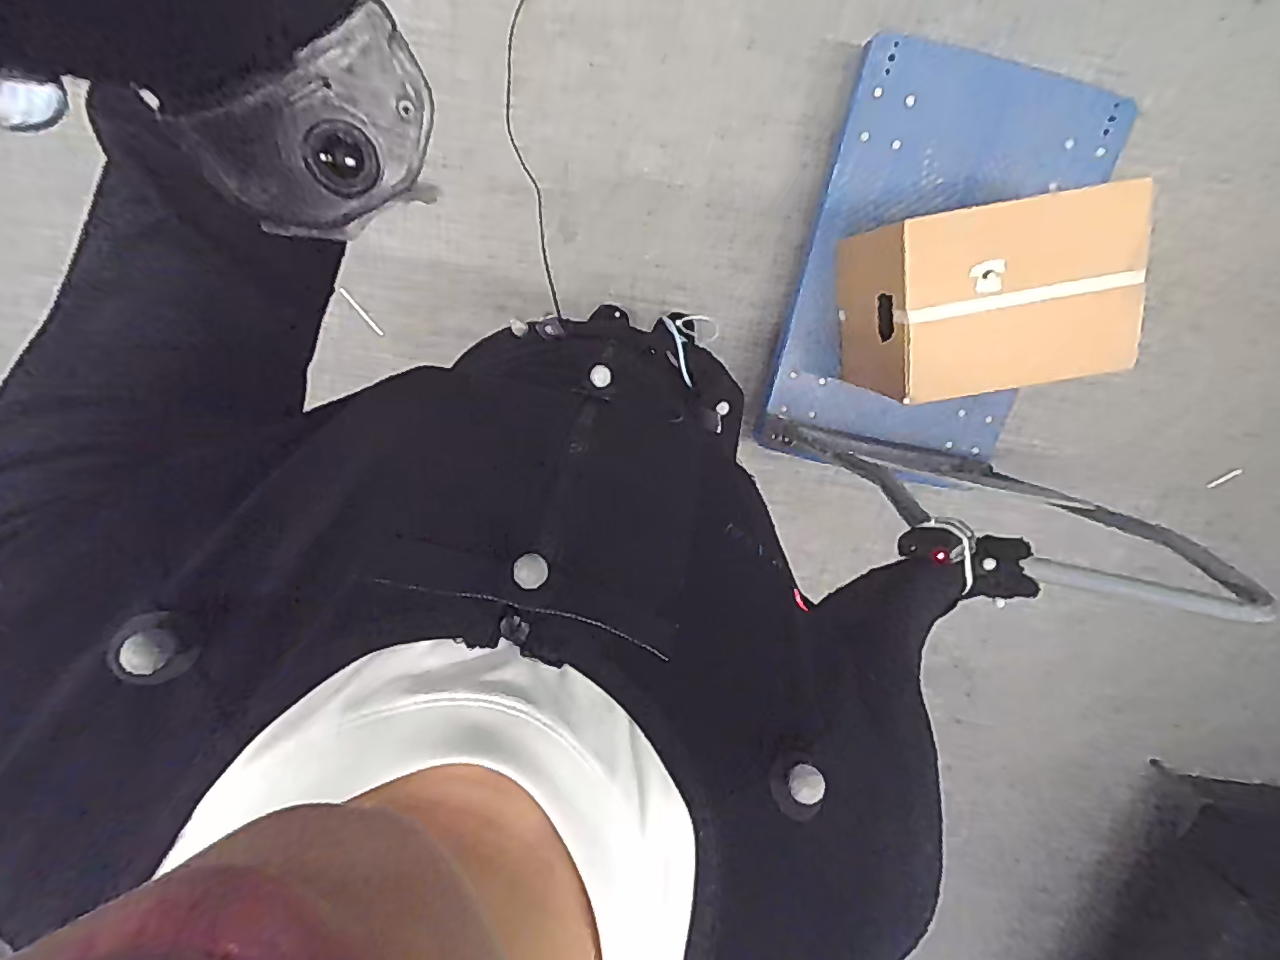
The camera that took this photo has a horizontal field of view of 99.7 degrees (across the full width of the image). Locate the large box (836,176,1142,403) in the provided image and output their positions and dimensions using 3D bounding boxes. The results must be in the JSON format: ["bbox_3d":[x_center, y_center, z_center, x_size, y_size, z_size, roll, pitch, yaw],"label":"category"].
[{"bbox_3d":[0.644,-0.364,1.070,0.408,0.320,0.320,-9,107,3],"label":"large box"}]
